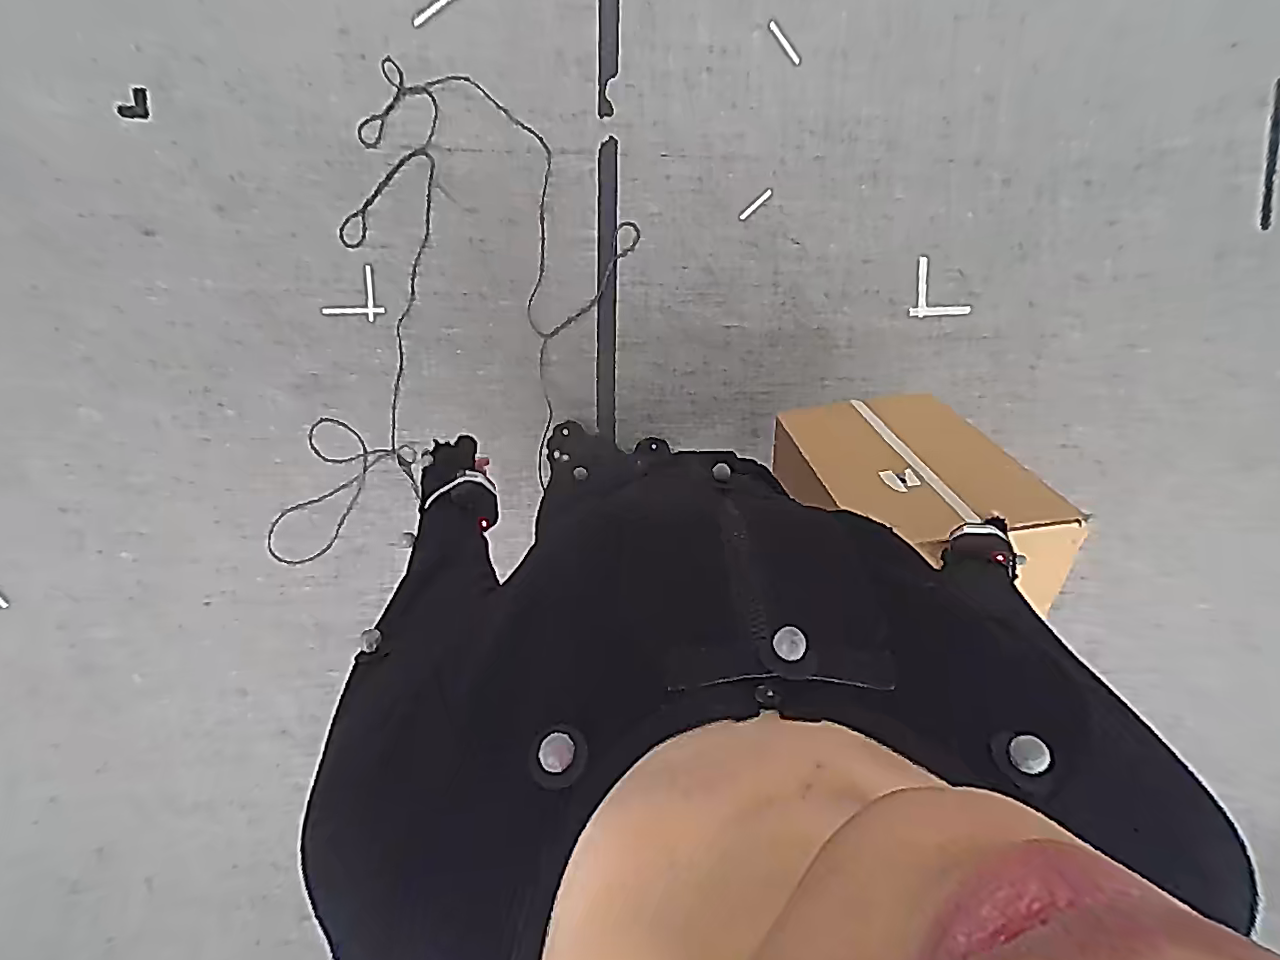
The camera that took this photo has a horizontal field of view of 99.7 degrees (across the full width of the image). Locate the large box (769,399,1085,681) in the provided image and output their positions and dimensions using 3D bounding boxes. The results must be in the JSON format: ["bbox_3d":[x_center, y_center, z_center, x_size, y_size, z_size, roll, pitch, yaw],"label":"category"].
[{"bbox_3d":[0.456,0.090,0.991,0.320,0.408,0.320,-8,126,-3],"label":"large box"}]
